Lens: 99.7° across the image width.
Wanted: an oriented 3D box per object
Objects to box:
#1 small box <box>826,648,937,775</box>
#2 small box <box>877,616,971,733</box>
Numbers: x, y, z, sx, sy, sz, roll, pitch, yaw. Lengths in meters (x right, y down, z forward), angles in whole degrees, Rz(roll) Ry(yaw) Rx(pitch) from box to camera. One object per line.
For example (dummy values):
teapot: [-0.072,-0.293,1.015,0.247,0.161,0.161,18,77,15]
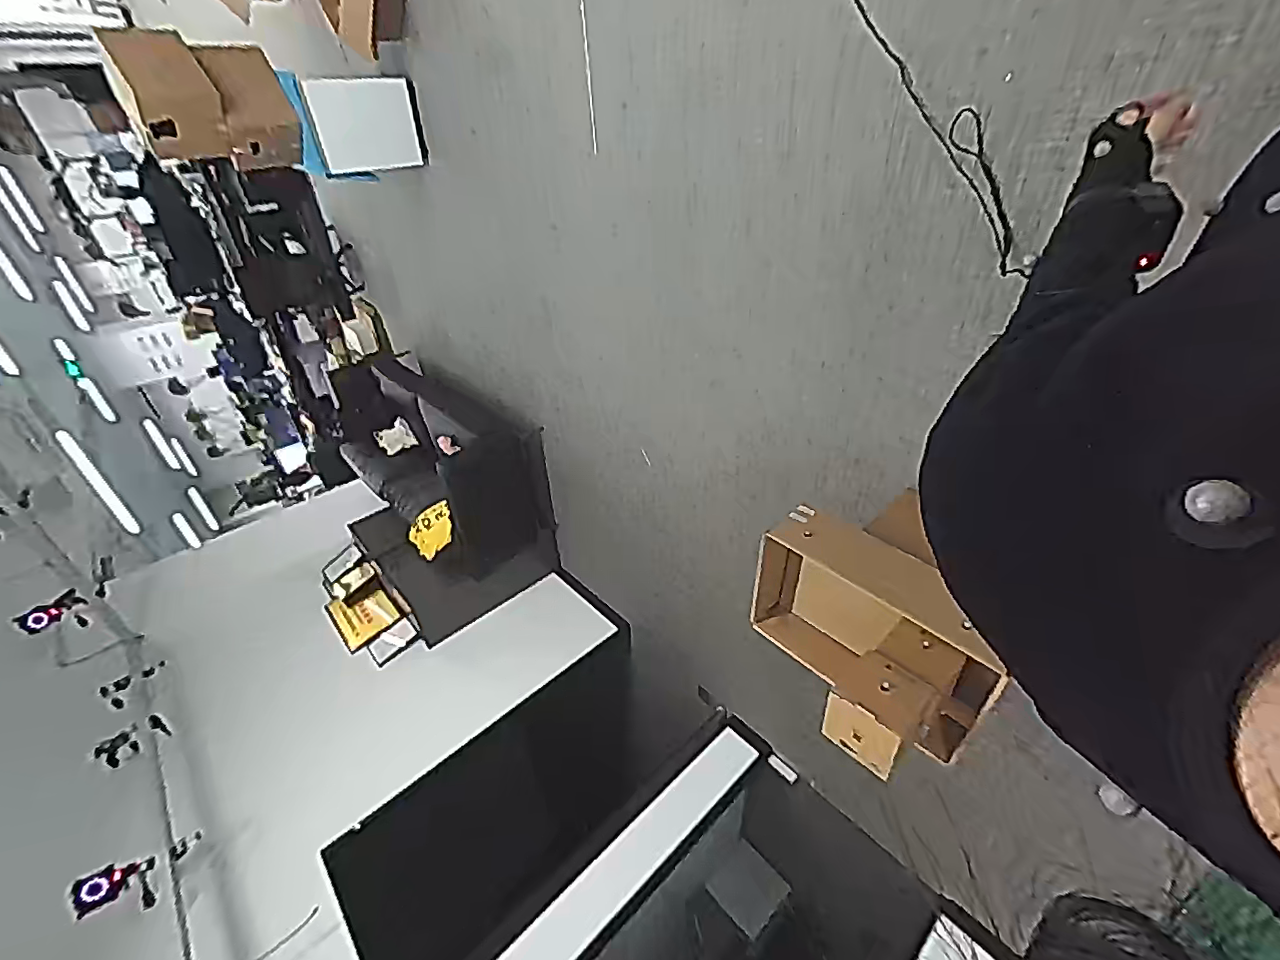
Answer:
small box: [0.565,0.532,1.263,0.168,0.176,0.179,30,136,40]
small box: [0.694,0.480,1.352,0.168,0.176,0.179,29,136,40]
